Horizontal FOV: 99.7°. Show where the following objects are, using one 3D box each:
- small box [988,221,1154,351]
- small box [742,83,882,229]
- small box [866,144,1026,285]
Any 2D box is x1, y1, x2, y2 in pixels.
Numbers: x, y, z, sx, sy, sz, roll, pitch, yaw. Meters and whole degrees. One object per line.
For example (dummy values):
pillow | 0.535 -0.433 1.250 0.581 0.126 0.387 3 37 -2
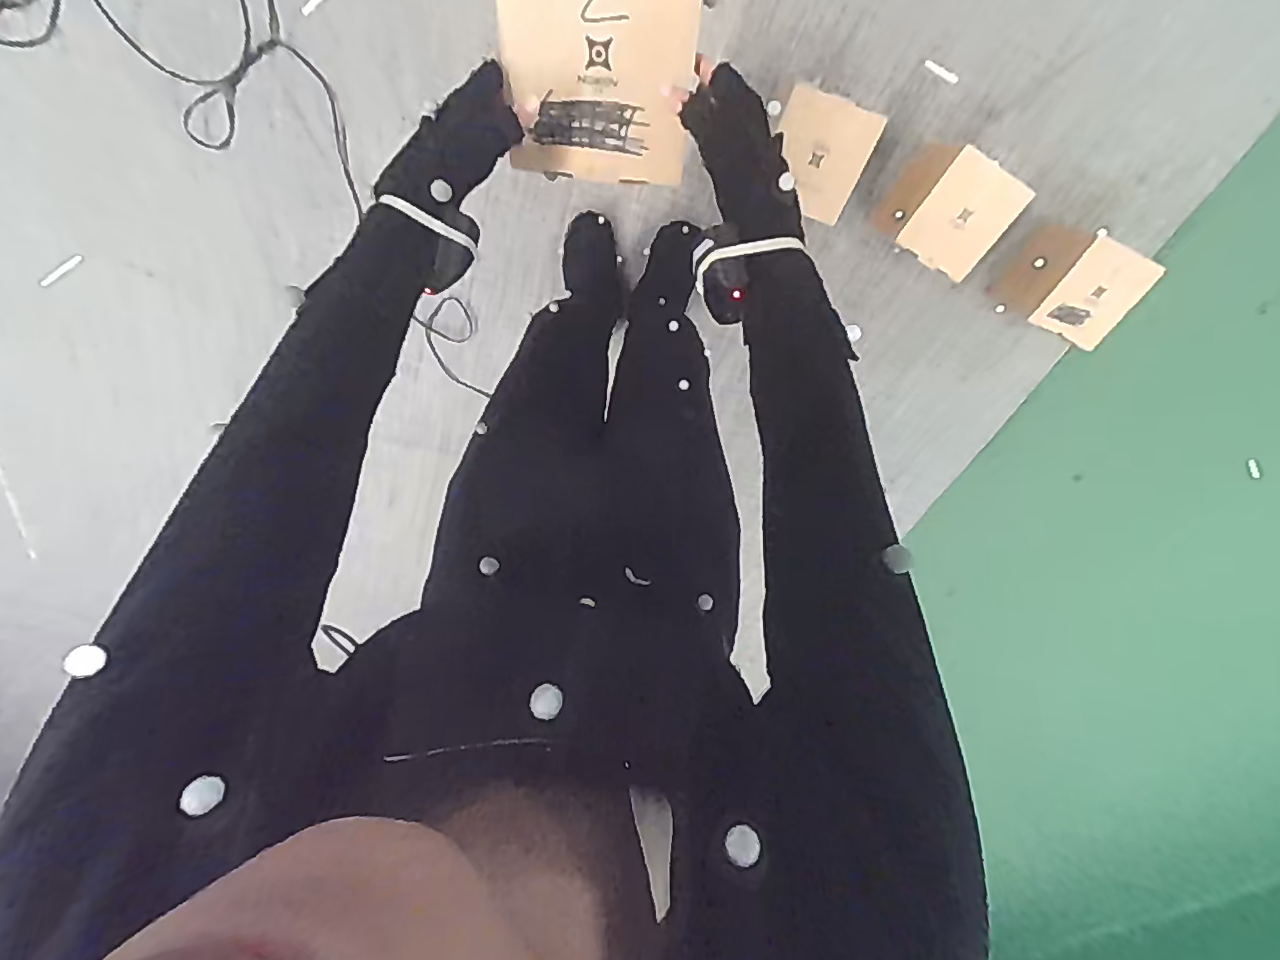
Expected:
small box | 0.856 -0.398 1.102 0.168 0.176 0.179 19 123 -12
small box | 0.296 -0.588 0.979 0.168 0.176 0.179 17 126 -8
small box | 0.566 -0.511 1.029 0.168 0.176 0.179 23 123 -15
